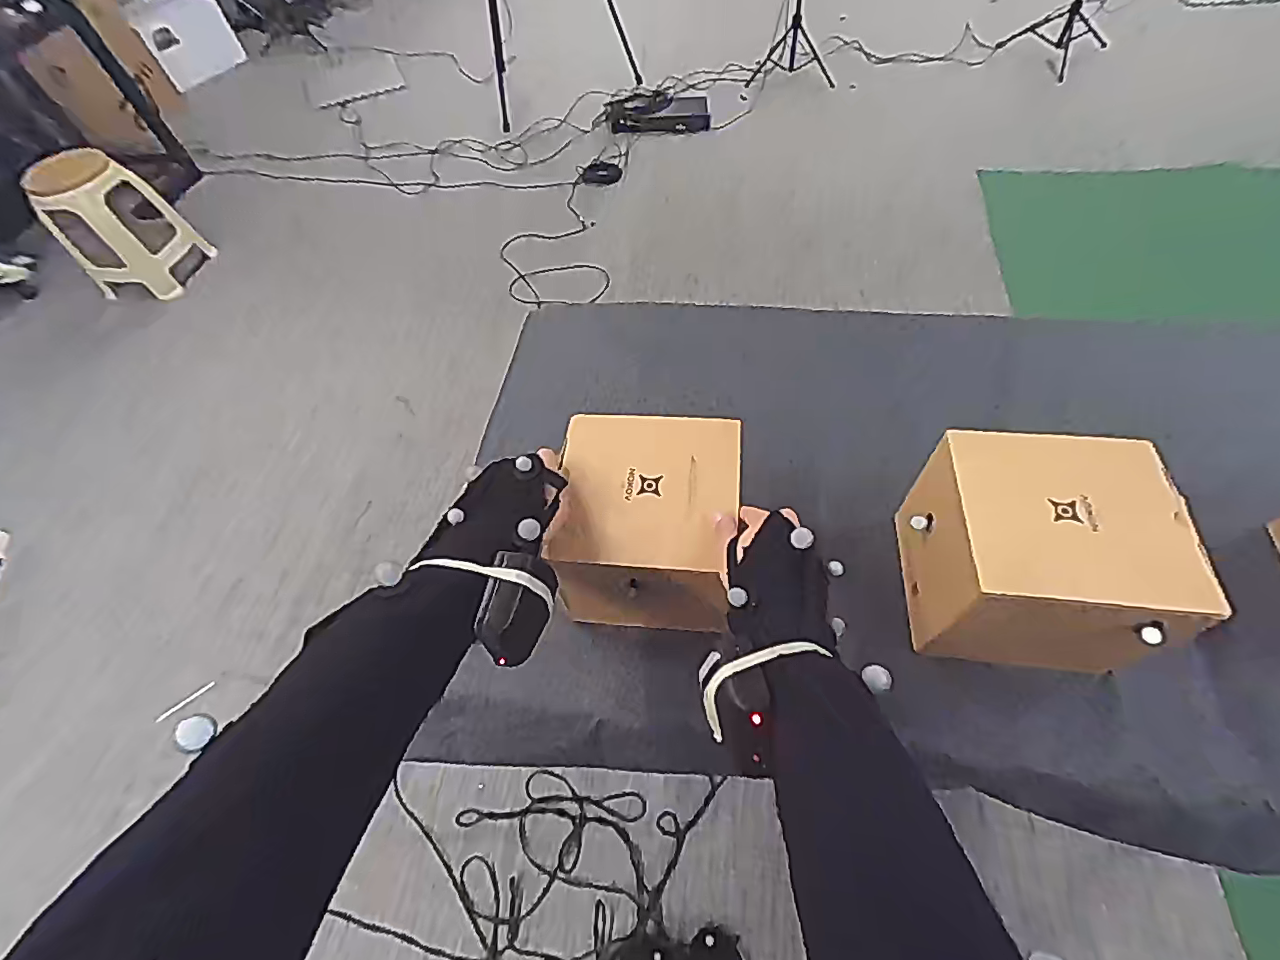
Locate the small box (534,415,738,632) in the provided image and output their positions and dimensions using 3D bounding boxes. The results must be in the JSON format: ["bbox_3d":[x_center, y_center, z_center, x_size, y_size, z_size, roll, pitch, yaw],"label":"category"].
[{"bbox_3d":[0.008,0.050,0.566,0.179,0.176,0.168,3,58,6],"label":"small box"}]

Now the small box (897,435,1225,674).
[{"bbox_3d":[0.362,0.075,0.517,0.179,0.176,0.168,4,56,8],"label":"small box"}]
